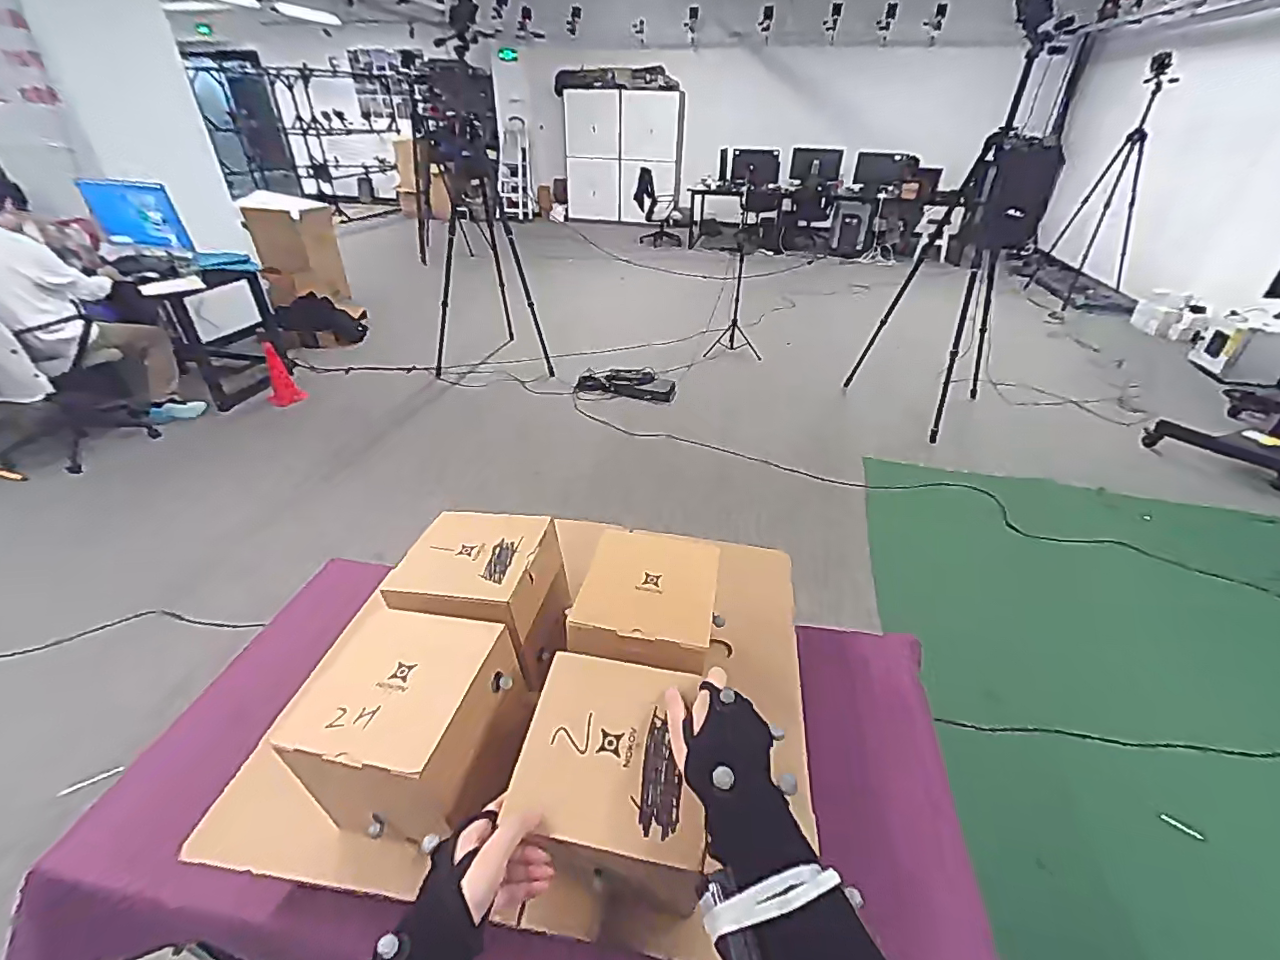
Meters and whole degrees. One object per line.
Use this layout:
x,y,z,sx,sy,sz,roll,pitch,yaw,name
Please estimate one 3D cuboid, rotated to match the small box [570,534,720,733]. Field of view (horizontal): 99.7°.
0.008,0.203,0.729,0.168,0.176,0.179,9,36,8,small box
